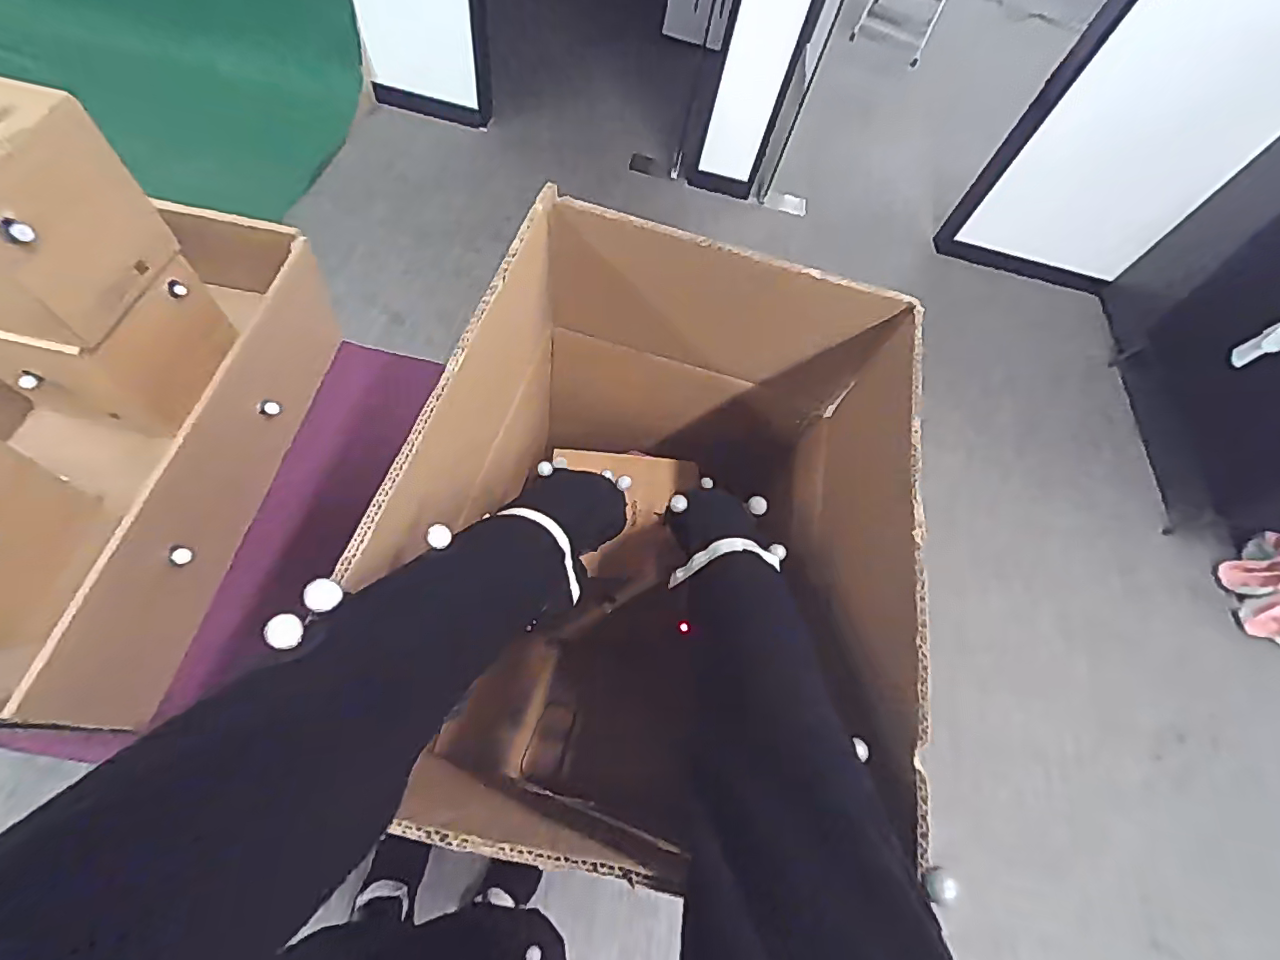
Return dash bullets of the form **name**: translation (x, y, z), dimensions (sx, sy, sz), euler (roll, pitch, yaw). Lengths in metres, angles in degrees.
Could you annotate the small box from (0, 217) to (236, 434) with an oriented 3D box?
- **small box**: translation (-0.652, -0.180, 0.665), dimensions (0.168, 0.176, 0.179), euler (13, 61, -2)
